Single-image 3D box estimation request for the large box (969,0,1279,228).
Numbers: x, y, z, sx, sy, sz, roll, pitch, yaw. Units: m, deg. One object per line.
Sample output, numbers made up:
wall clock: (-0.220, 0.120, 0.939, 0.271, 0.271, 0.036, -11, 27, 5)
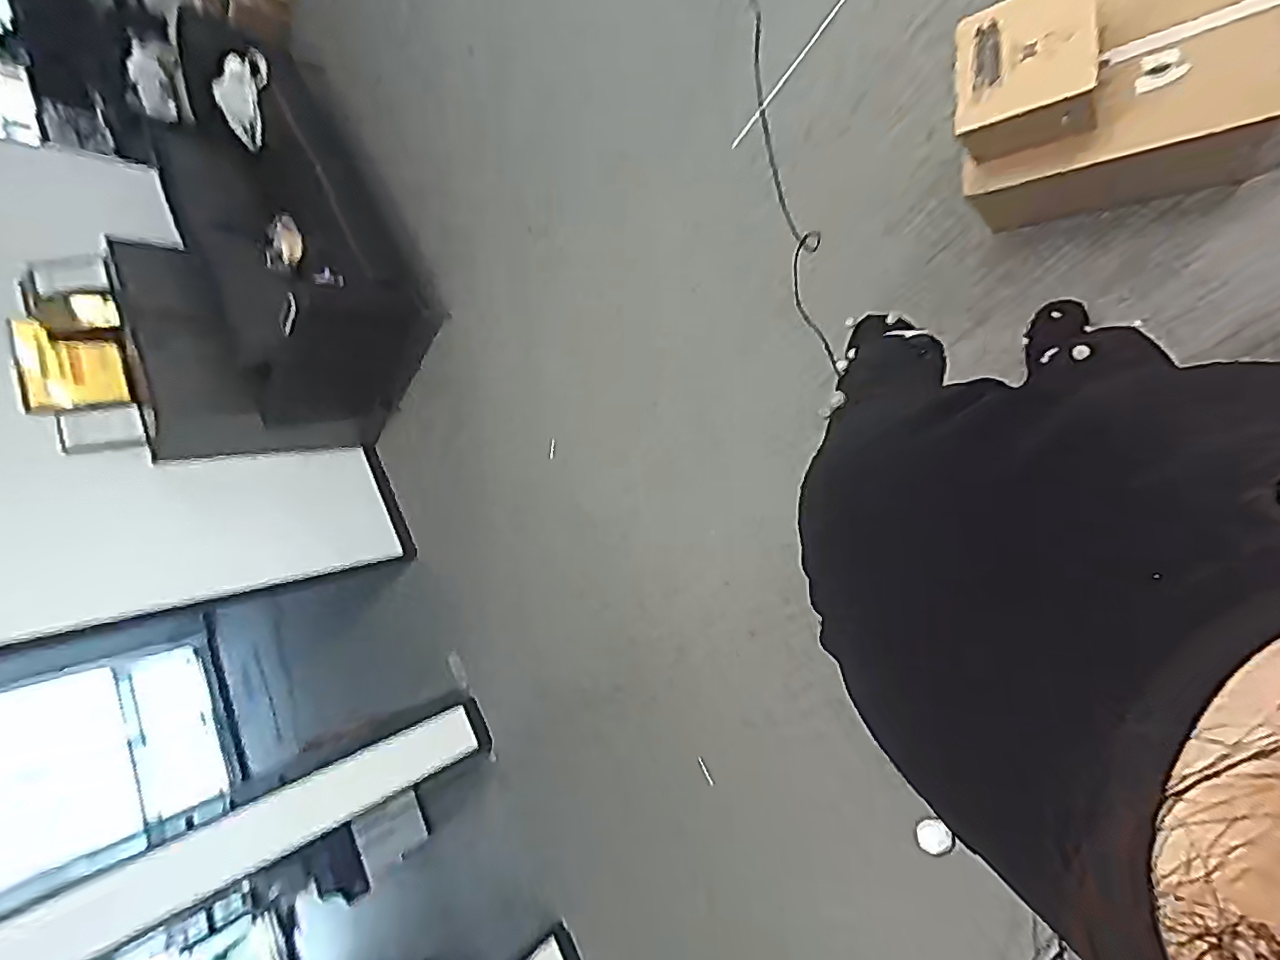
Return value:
large box: (0.856, -0.698, 0.981, 0.408, 0.320, 0.320, 4, 100, 40)
